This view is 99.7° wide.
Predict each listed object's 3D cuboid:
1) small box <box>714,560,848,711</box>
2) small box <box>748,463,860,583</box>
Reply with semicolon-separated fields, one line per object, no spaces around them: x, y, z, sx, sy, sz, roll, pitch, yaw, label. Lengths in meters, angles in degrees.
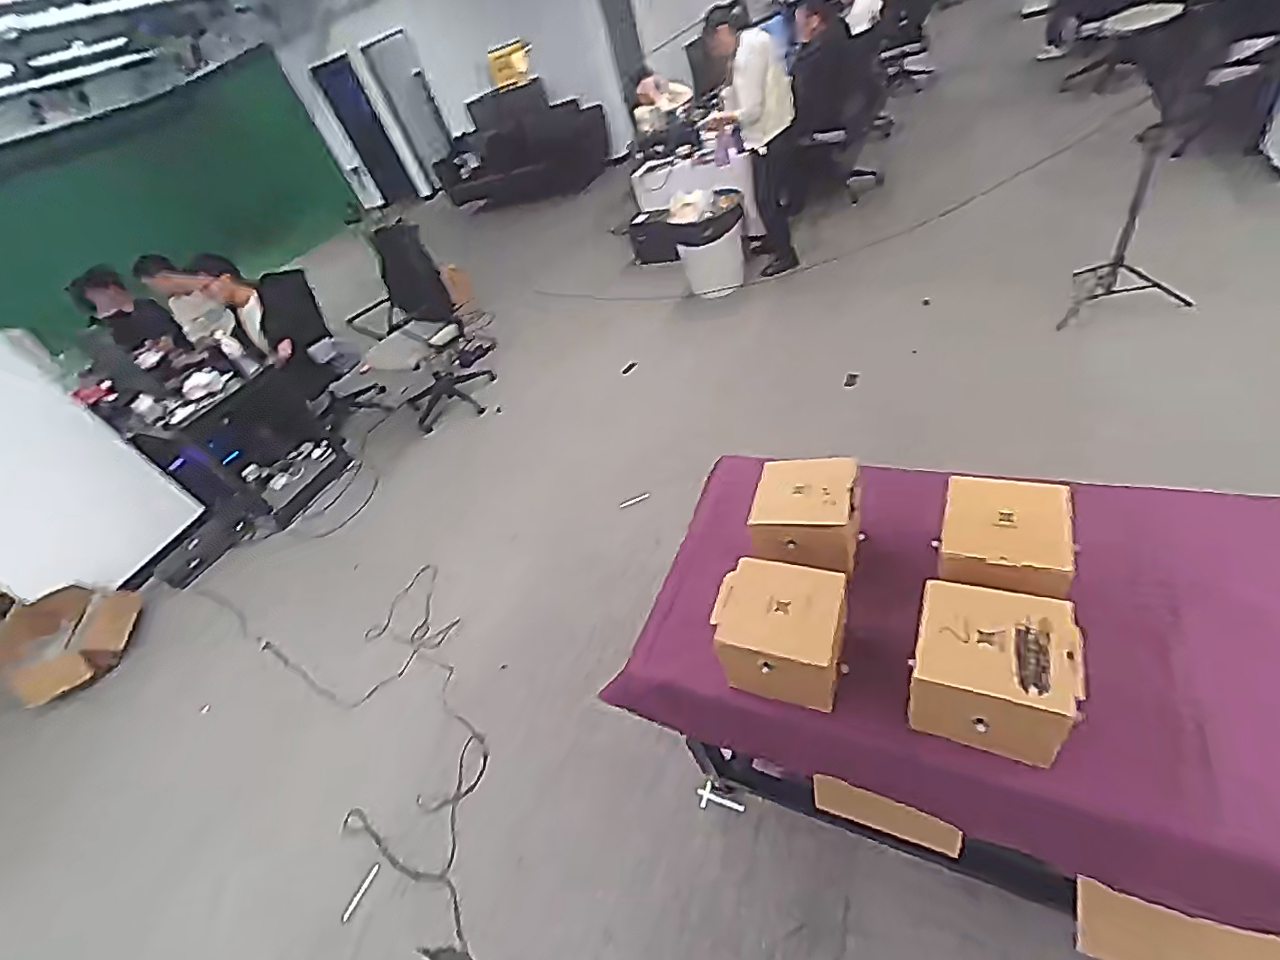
0.243;0.259;0.904;0.179;0.176;0.168;7;48;27;small box
0.325;0.087;1.051;0.179;0.176;0.168;5;48;27;small box
